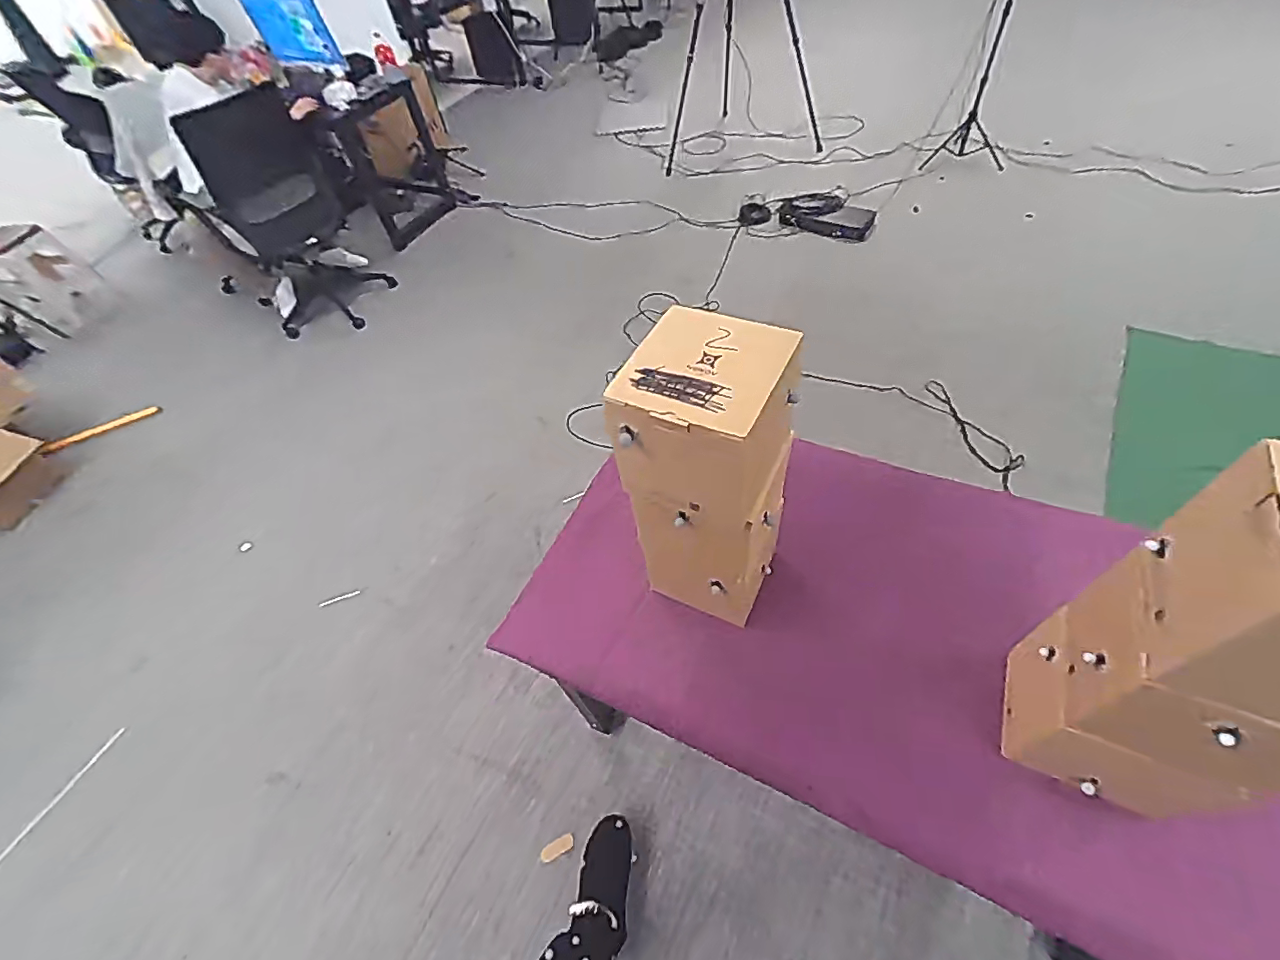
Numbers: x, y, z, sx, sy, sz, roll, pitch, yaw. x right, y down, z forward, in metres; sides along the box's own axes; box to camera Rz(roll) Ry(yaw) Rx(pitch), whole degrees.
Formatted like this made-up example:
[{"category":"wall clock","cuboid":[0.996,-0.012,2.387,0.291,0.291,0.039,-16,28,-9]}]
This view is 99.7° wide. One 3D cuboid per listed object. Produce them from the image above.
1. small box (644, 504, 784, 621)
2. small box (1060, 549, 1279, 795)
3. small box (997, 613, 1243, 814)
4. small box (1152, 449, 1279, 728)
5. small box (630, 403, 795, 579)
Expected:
[{"category":"small box","cuboid":[0.125,0.116,0.914,0.179,0.176,0.168,20,57,21]},{"category":"small box","cuboid":[0.586,0.206,0.574,0.179,0.176,0.168,19,58,21]},{"category":"small box","cuboid":[0.602,0.306,0.702,0.179,0.176,0.168,18,57,20]},{"category":"small box","cuboid":[0.571,0.106,0.444,0.179,0.176,0.168,18,58,21]},{"category":"small box","cuboid":[0.107,0.021,0.784,0.179,0.176,0.168,19,58,21]}]
